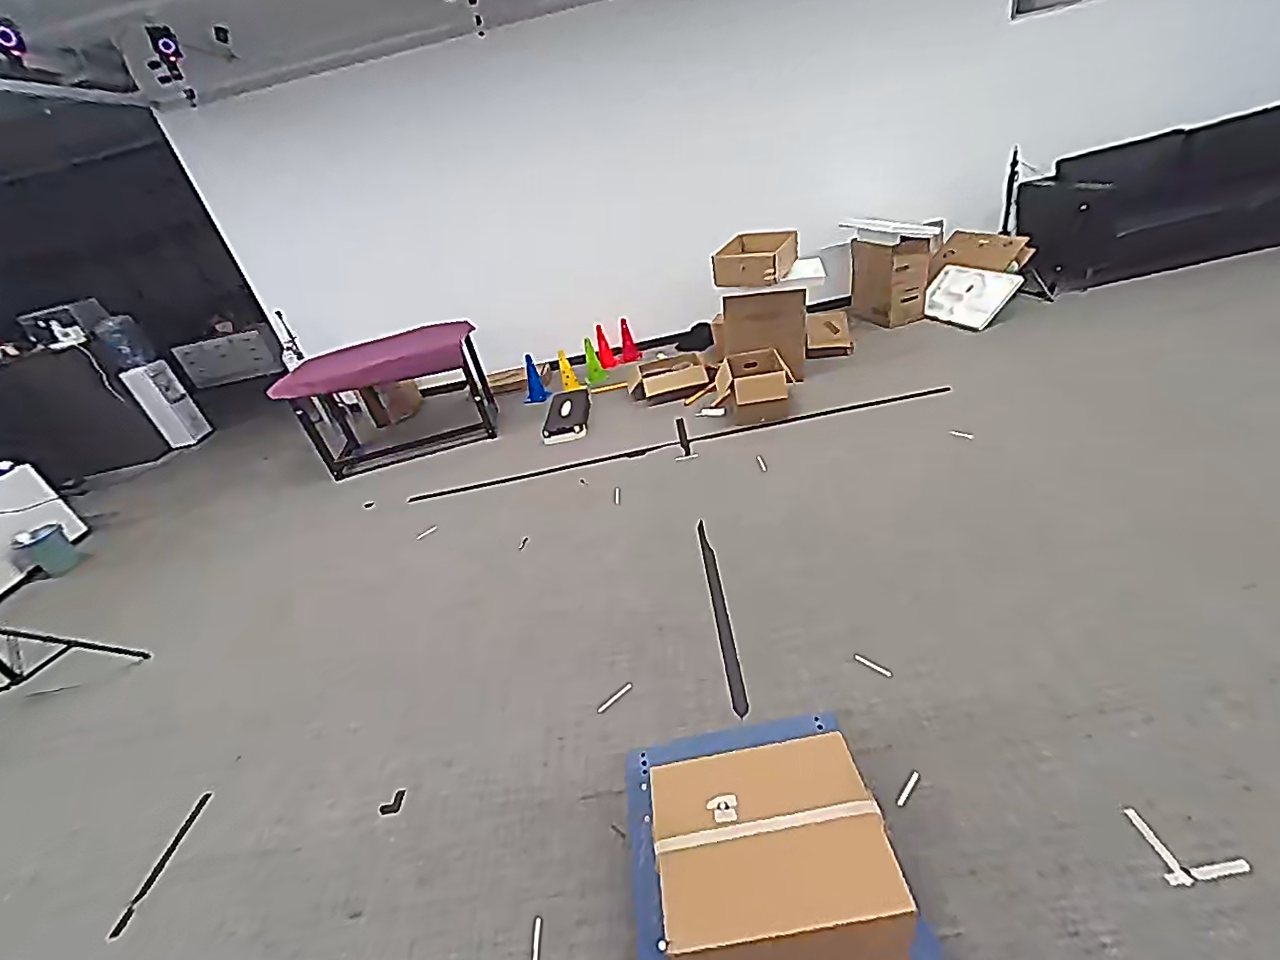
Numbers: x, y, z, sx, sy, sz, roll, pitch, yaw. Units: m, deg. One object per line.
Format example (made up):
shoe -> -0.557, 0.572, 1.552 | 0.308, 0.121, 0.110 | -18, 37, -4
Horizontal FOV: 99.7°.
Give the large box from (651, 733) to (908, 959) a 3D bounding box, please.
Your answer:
large box -> 0.261, 0.772, 1.079 | 0.408, 0.320, 0.320 | -13, 30, 3
